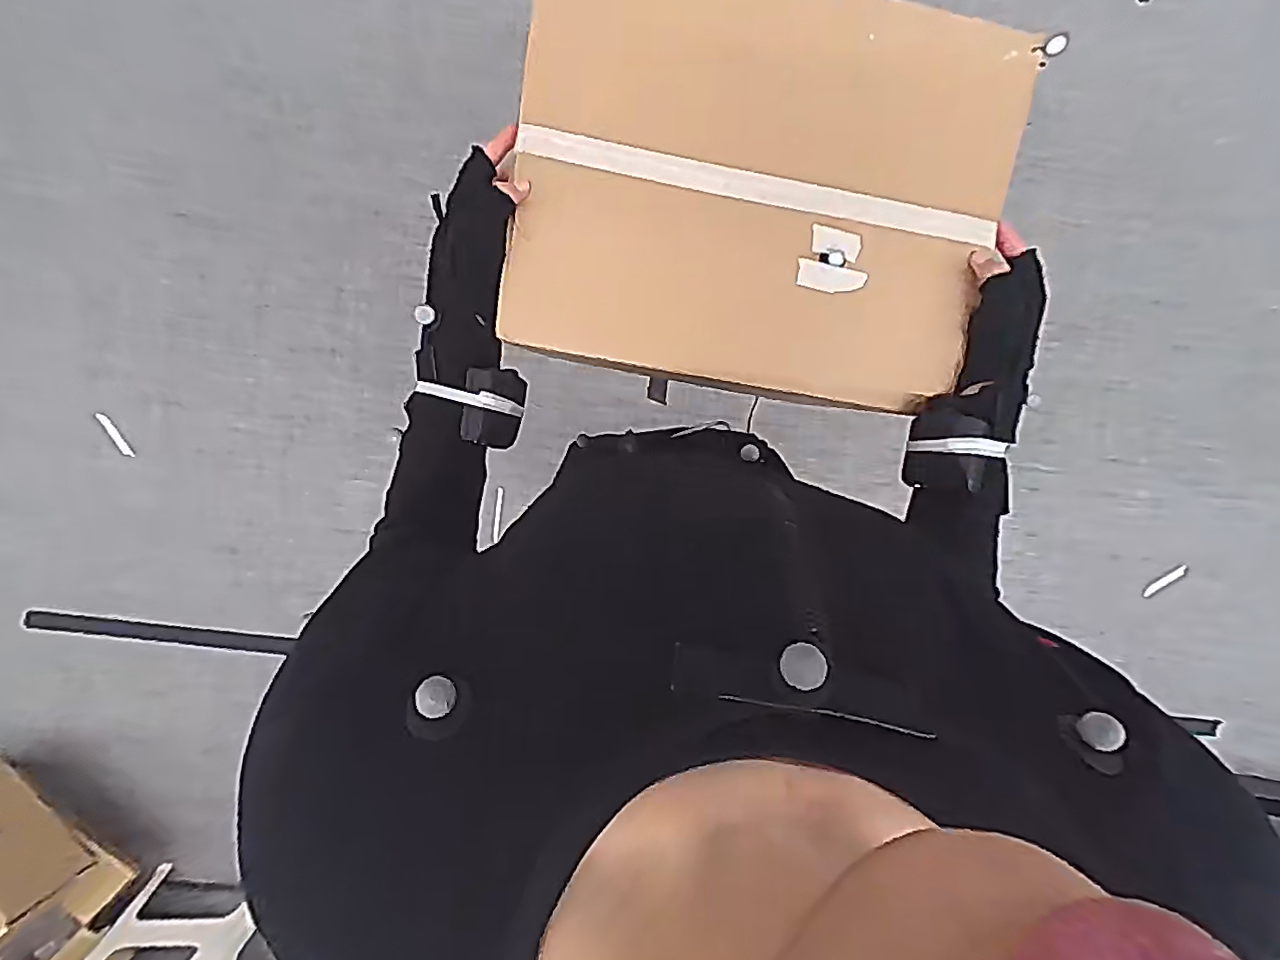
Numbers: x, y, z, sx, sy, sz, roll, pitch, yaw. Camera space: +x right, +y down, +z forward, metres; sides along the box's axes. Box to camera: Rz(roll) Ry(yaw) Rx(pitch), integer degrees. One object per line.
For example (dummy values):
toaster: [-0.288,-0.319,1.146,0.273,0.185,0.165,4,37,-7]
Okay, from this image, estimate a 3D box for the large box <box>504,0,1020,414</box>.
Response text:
large box: [0.088,-0.264,0.603,0.408,0.320,0.320,9,101,-6]
